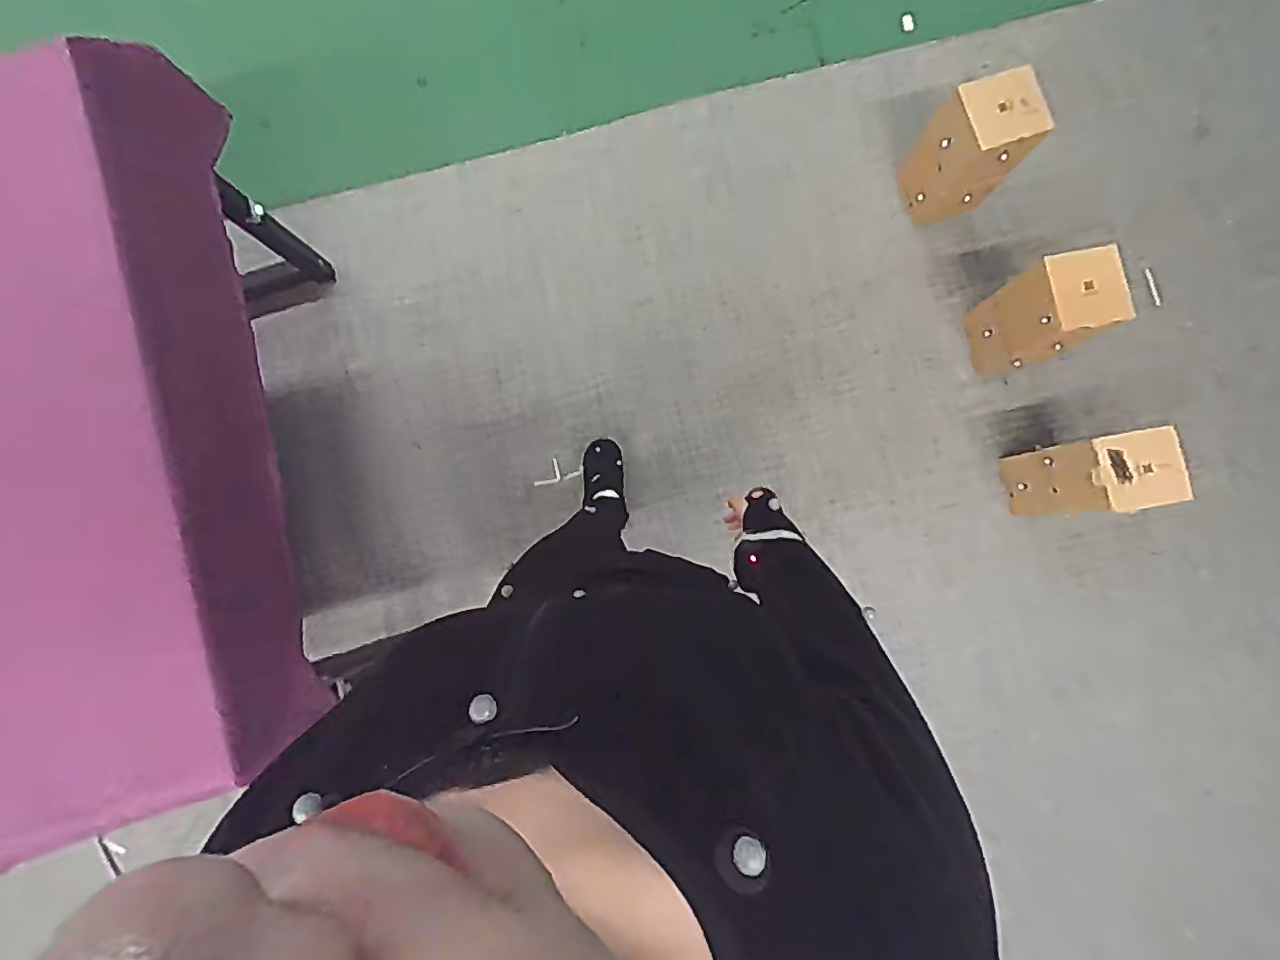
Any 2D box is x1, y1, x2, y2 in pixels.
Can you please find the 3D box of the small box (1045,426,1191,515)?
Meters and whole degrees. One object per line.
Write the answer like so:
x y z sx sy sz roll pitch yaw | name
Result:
1.063 -0.015 1.225 0.179 0.176 0.168 -10 85 0 | small box

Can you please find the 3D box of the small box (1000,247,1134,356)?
0.983 -0.411 1.264 0.168 0.176 0.179 -10 85 1 | small box

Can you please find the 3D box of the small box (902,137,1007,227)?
0.840 -0.821 1.470 0.179 0.176 0.168 -15 85 0 | small box

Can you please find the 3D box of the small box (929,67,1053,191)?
0.831 -0.836 1.306 0.179 0.176 0.168 -17 86 0 | small box

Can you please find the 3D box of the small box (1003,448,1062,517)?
1.073 0.000 1.389 0.179 0.176 0.168 -12 85 2 | small box
